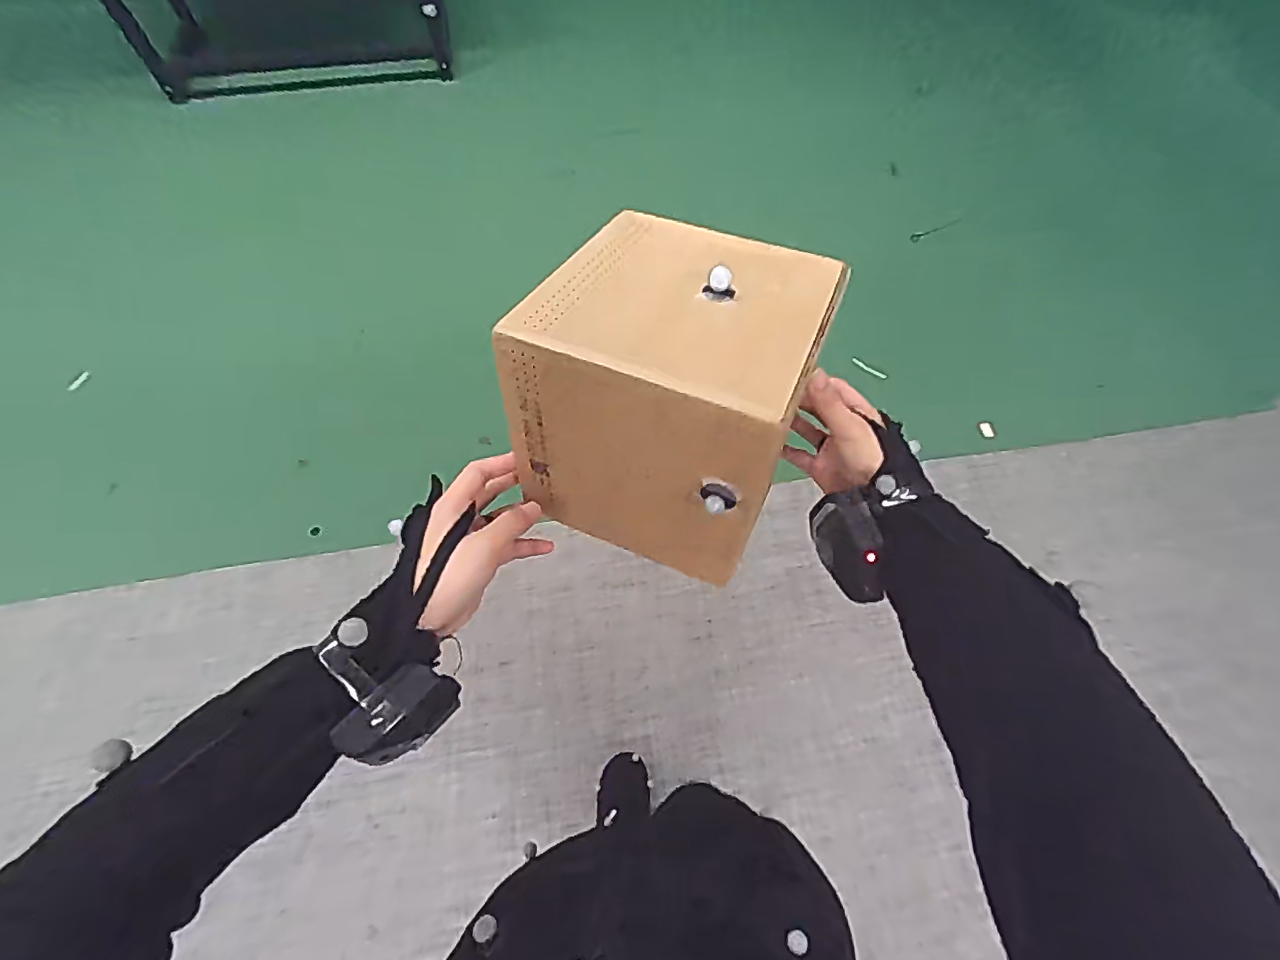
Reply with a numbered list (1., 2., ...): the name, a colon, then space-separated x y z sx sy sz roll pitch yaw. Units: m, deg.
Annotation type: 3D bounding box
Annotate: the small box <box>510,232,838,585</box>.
1. small box: 0.025 -0.059 0.402 0.176 0.168 0.179 19 51 13
